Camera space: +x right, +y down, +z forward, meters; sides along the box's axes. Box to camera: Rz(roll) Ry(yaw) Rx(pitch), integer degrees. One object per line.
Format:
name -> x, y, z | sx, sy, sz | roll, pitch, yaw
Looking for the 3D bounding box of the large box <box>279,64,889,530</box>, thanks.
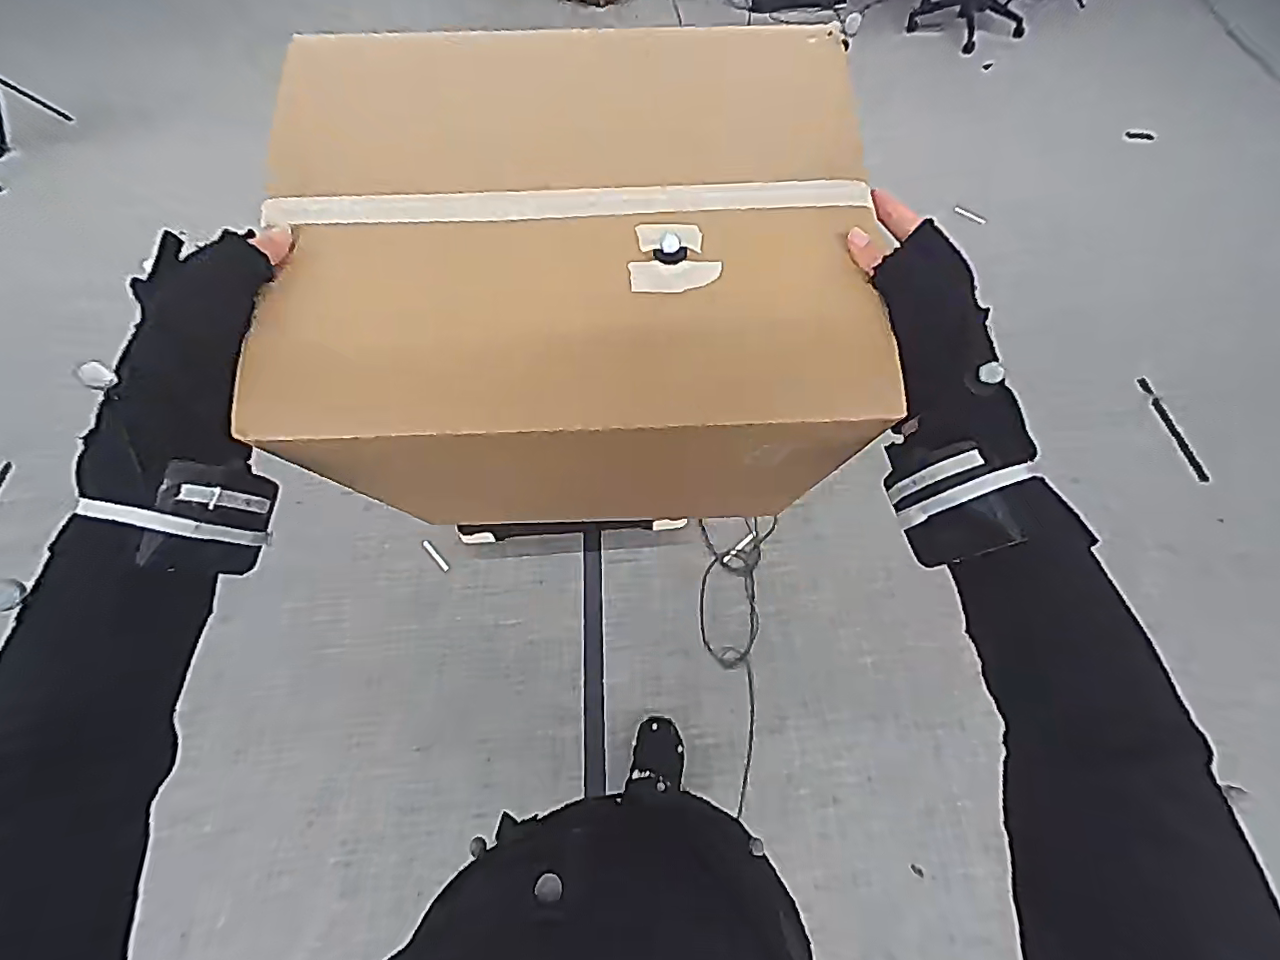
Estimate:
large box -> -0.043, -0.137, 0.530 | 0.408, 0.320, 0.320 | -2, 75, -1
